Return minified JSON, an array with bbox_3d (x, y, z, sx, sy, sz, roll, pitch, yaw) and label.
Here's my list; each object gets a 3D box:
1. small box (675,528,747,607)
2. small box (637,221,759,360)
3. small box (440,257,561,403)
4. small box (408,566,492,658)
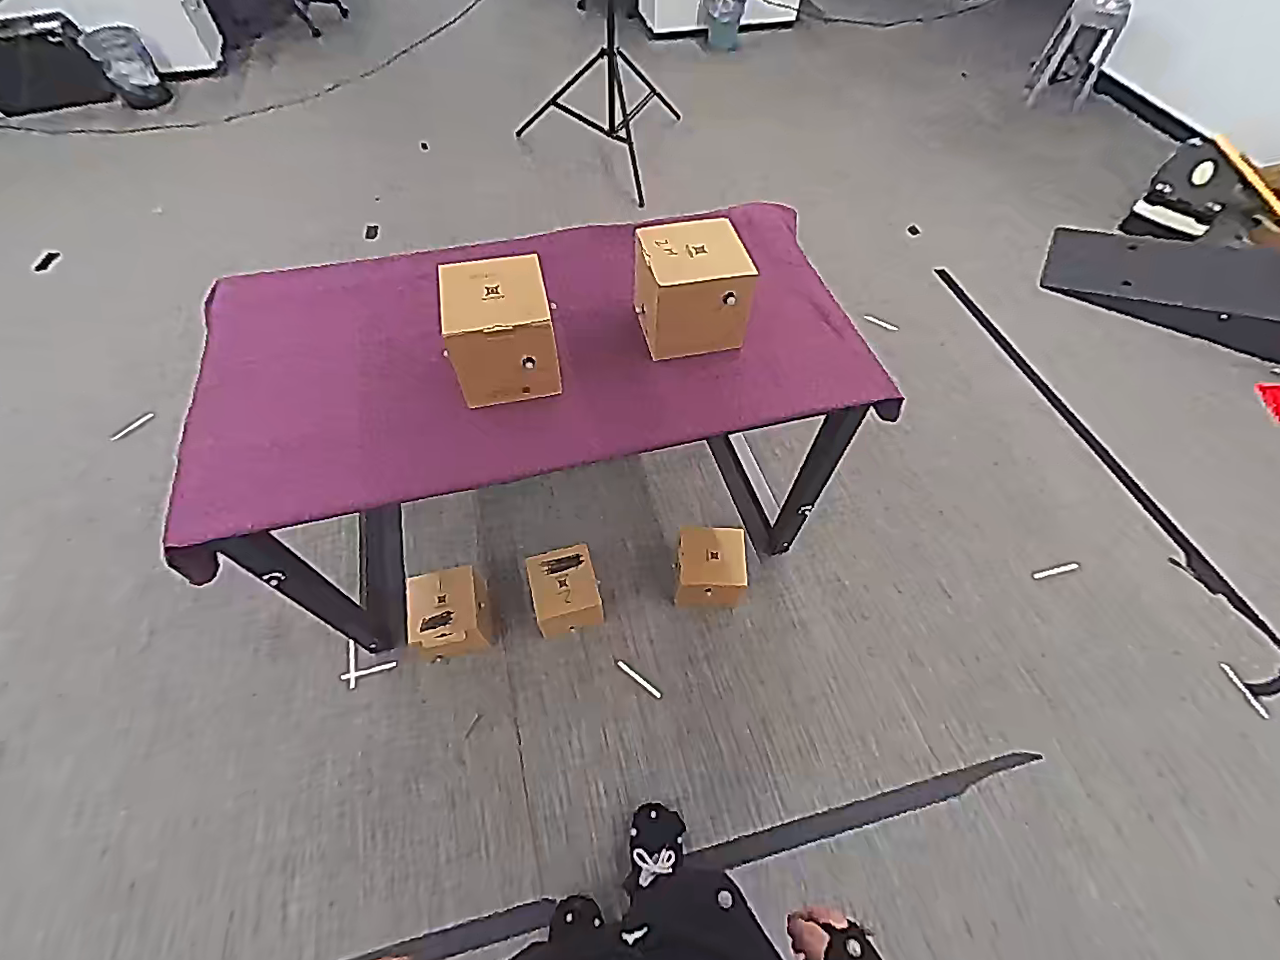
[{"bbox_3d":[0.189,0.243,1.489,0.179,0.176,0.168,2,58,1],"label":"small box"},{"bbox_3d":[0.095,-0.344,0.992,0.179,0.176,0.168,-11,58,-8],"label":"small box"},{"bbox_3d":[-0.233,-0.248,0.924,0.168,0.176,0.179,-11,56,-9],"label":"small box"},{"bbox_3d":[-0.489,0.349,1.401,0.168,0.176,0.179,-11,58,-9],"label":"small box"}]
